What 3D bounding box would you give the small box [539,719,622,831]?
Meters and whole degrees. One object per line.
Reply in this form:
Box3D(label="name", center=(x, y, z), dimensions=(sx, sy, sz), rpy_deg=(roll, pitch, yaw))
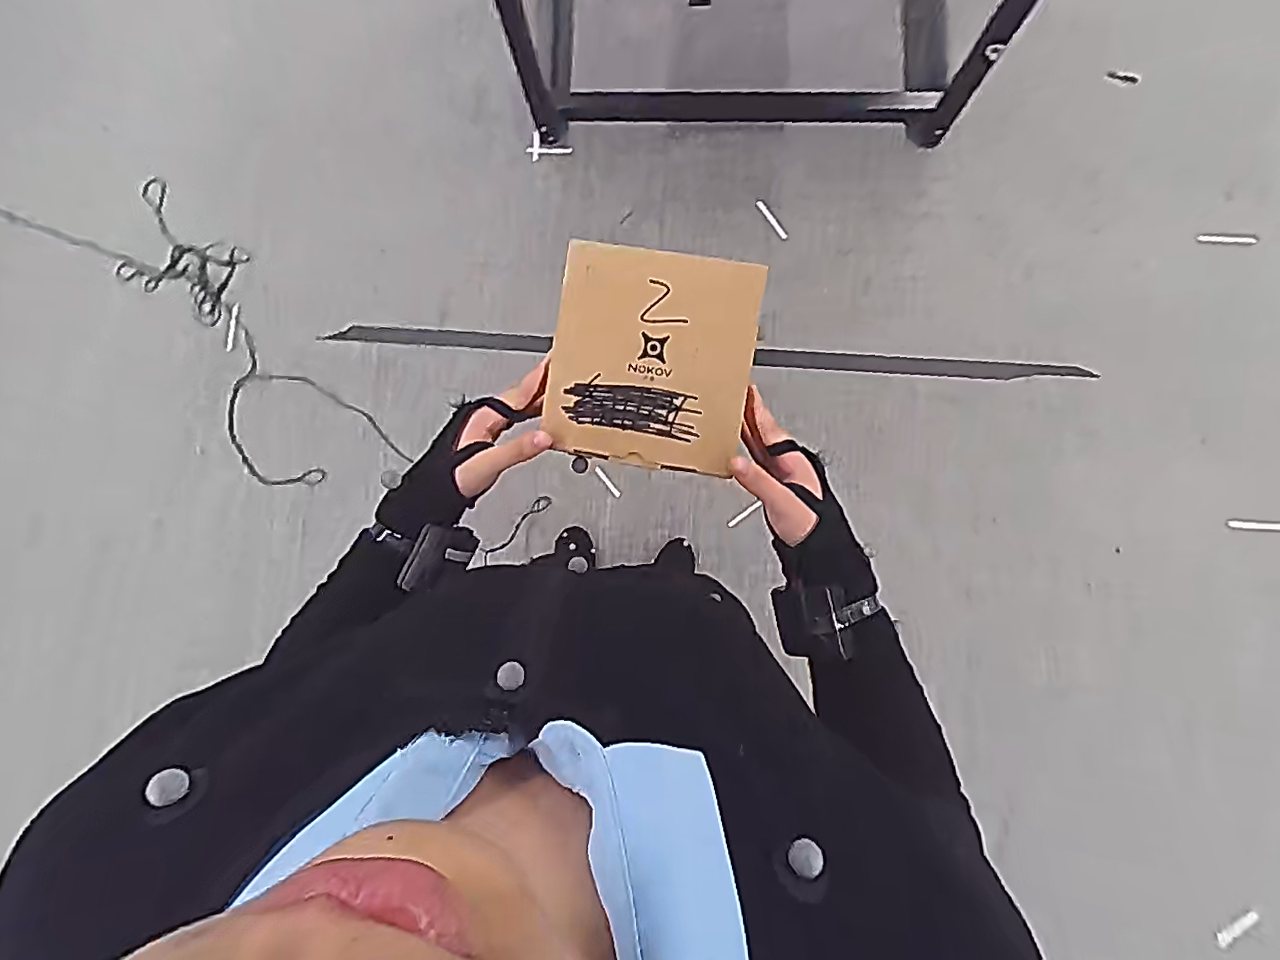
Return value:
Box3D(label="small box", center=(-0.138, 0.715, 1.327), dimensions=(0.168, 0.176, 0.179), rpy_deg=(8, 84, 2))
